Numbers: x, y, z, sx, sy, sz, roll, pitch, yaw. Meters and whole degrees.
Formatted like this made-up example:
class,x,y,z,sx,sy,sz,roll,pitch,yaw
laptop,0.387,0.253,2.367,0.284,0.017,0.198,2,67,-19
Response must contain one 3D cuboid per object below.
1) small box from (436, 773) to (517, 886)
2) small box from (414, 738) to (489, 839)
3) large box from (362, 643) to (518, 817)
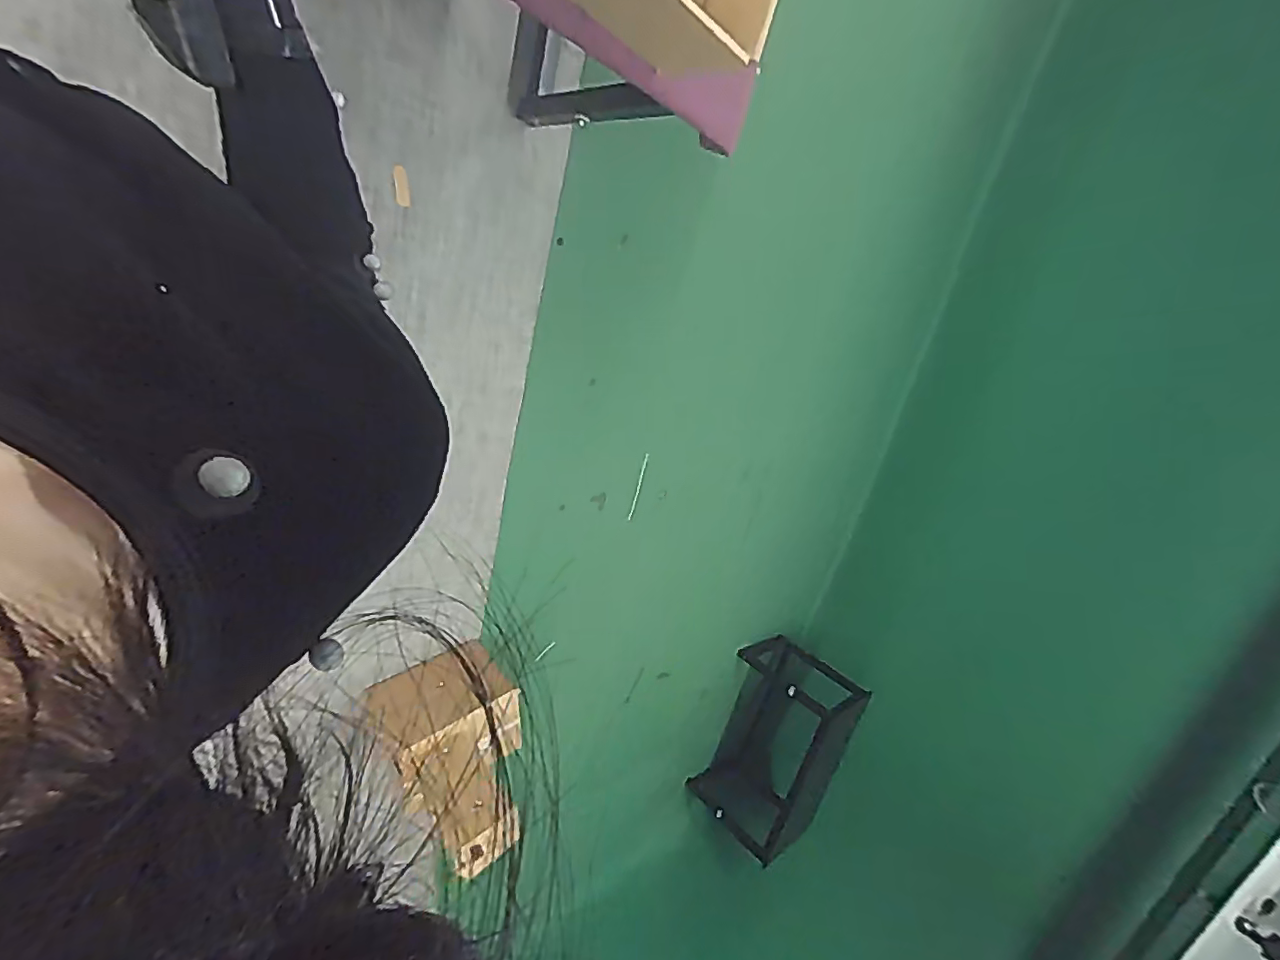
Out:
class,x,y,z,sx,sy,sz,roll,pitch,yaw
small box,-0.478,1.007,1.569,0.179,0.176,0.168,-20,125,-39
small box,-0.588,0.947,1.676,0.179,0.176,0.168,-14,121,-40
large box,-0.690,0.851,1.895,0.408,0.320,0.320,-20,126,-39
